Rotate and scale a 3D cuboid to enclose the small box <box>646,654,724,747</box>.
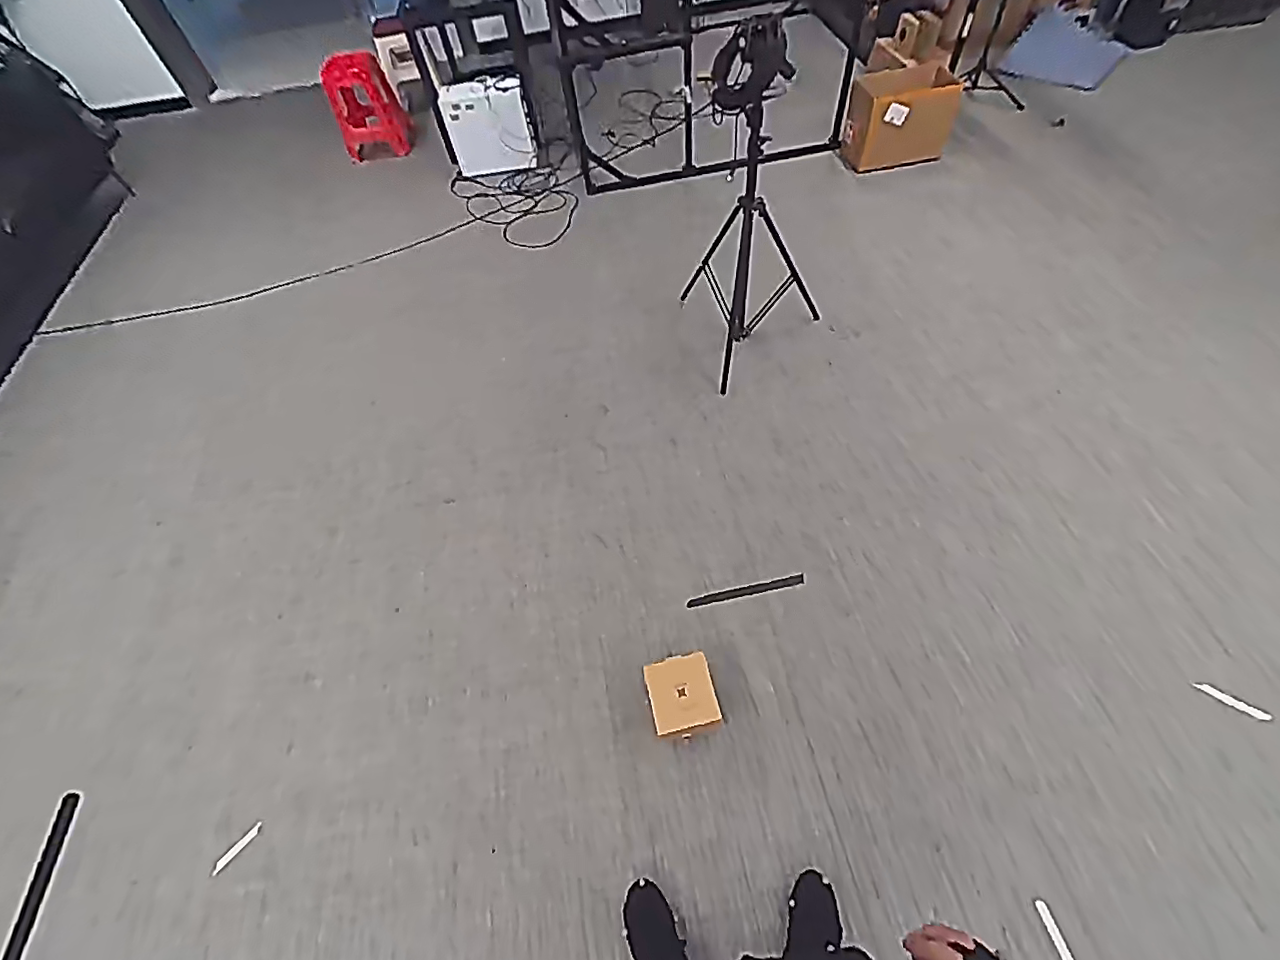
[{"bbox_3d":[0.117,0.589,1.438,0.168,0.176,0.179,-14,56,-2],"label":"small box"}]
